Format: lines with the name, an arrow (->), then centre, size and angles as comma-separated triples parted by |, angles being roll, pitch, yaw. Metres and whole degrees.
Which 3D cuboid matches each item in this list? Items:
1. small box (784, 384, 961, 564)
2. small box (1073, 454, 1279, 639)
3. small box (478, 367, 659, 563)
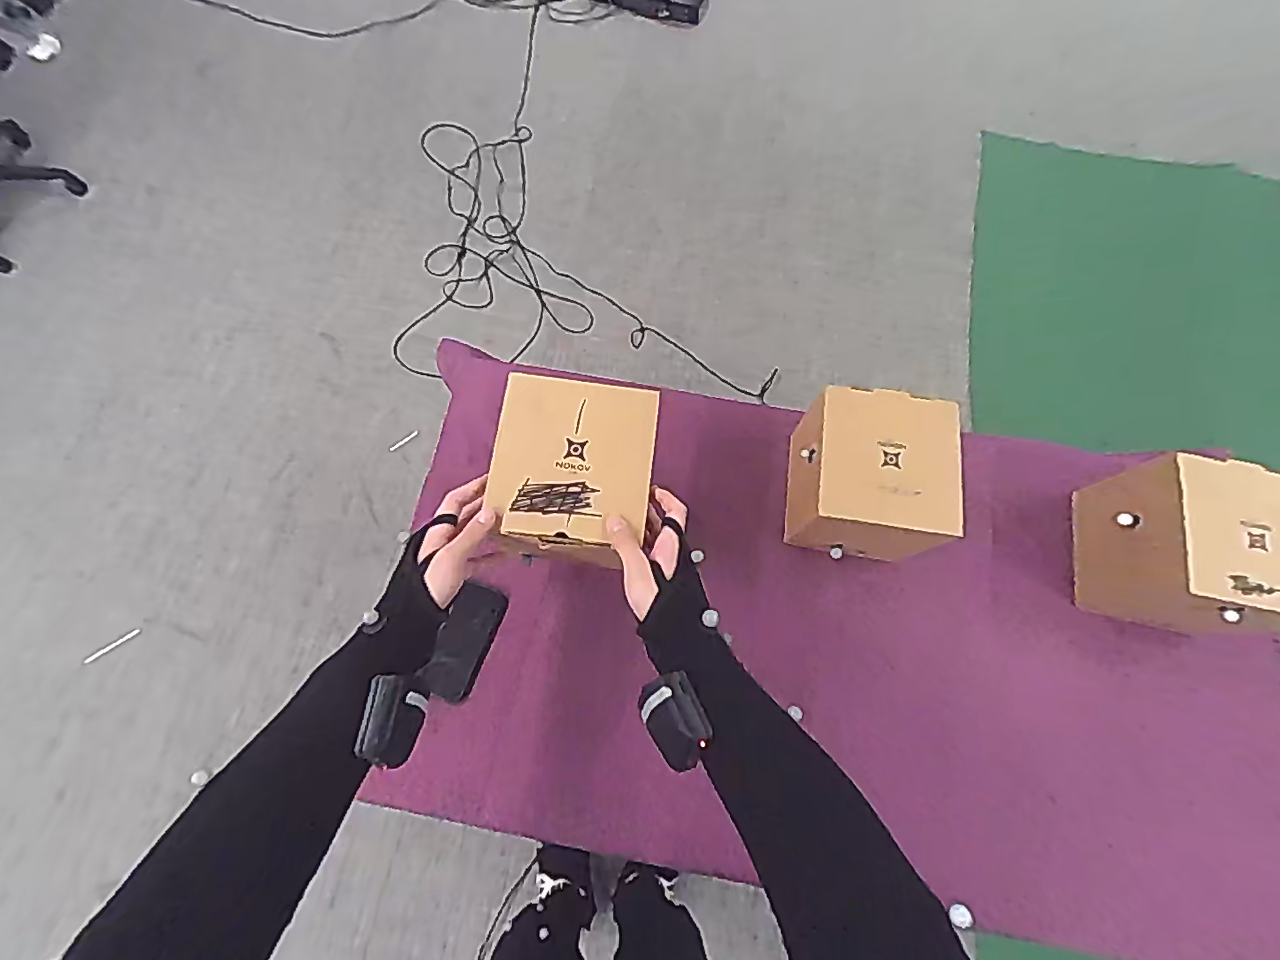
small box -> 0.296, 0.000, 0.718 | 0.168, 0.176, 0.179 | 9, 71, 3
small box -> 0.696, 0.092, 0.690 | 0.168, 0.176, 0.179 | 12, 70, 5
small box -> -0.074, -0.006, 0.634 | 0.168, 0.176, 0.179 | 8, 72, -2
